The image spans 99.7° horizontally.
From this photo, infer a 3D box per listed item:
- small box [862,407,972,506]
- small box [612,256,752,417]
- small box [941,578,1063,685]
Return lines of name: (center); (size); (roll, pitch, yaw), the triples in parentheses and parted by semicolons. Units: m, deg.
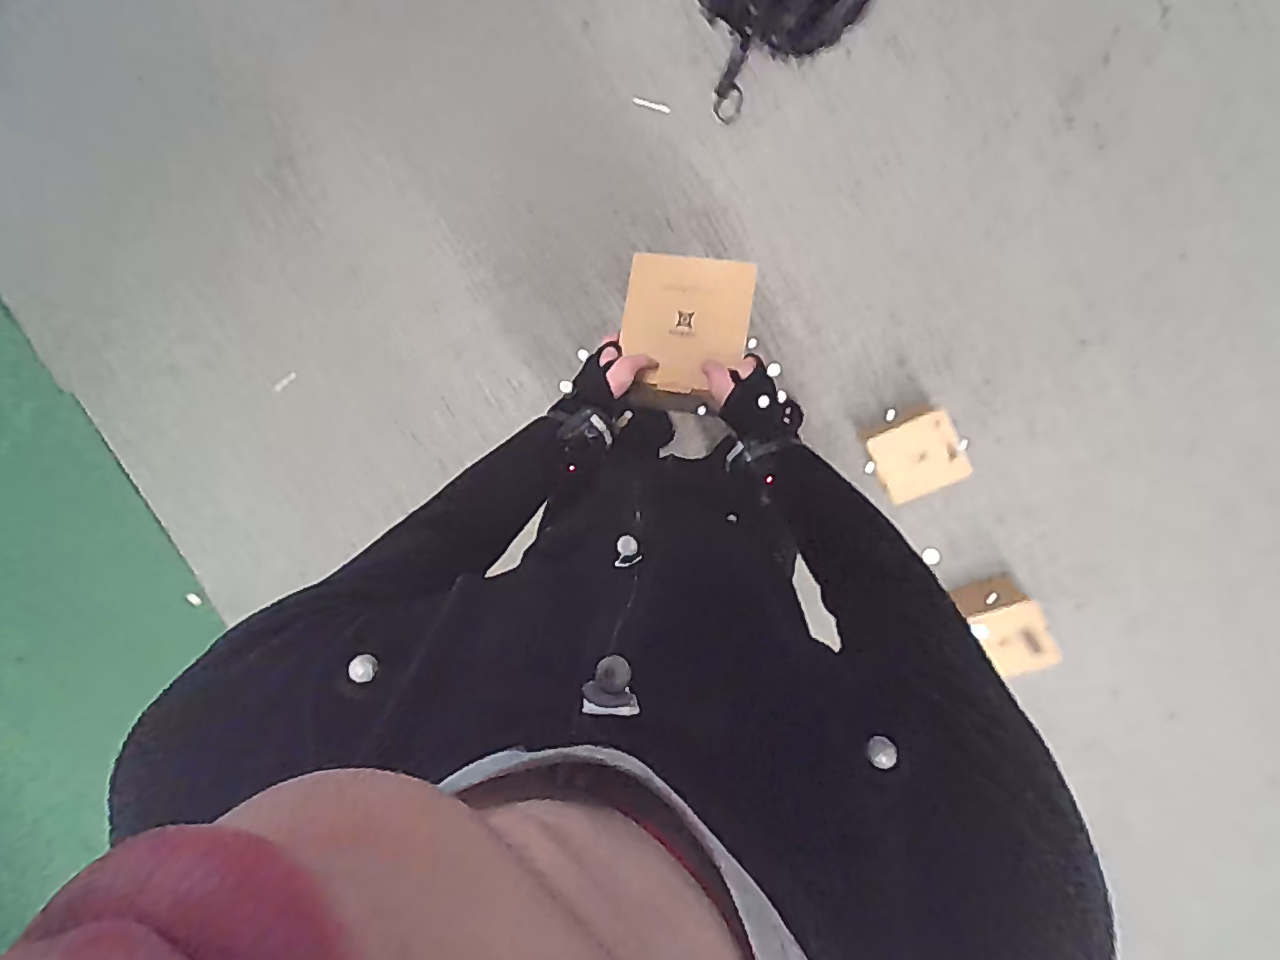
small box: (0.644, -0.060, 1.283); (0.179, 0.176, 0.168); (-25, 94, 19)
small box: (0.066, -0.195, 0.779); (0.168, 0.176, 0.179); (7, 85, 9)
small box: (0.866, 0.361, 1.312); (0.179, 0.176, 0.168); (-25, 93, 20)
